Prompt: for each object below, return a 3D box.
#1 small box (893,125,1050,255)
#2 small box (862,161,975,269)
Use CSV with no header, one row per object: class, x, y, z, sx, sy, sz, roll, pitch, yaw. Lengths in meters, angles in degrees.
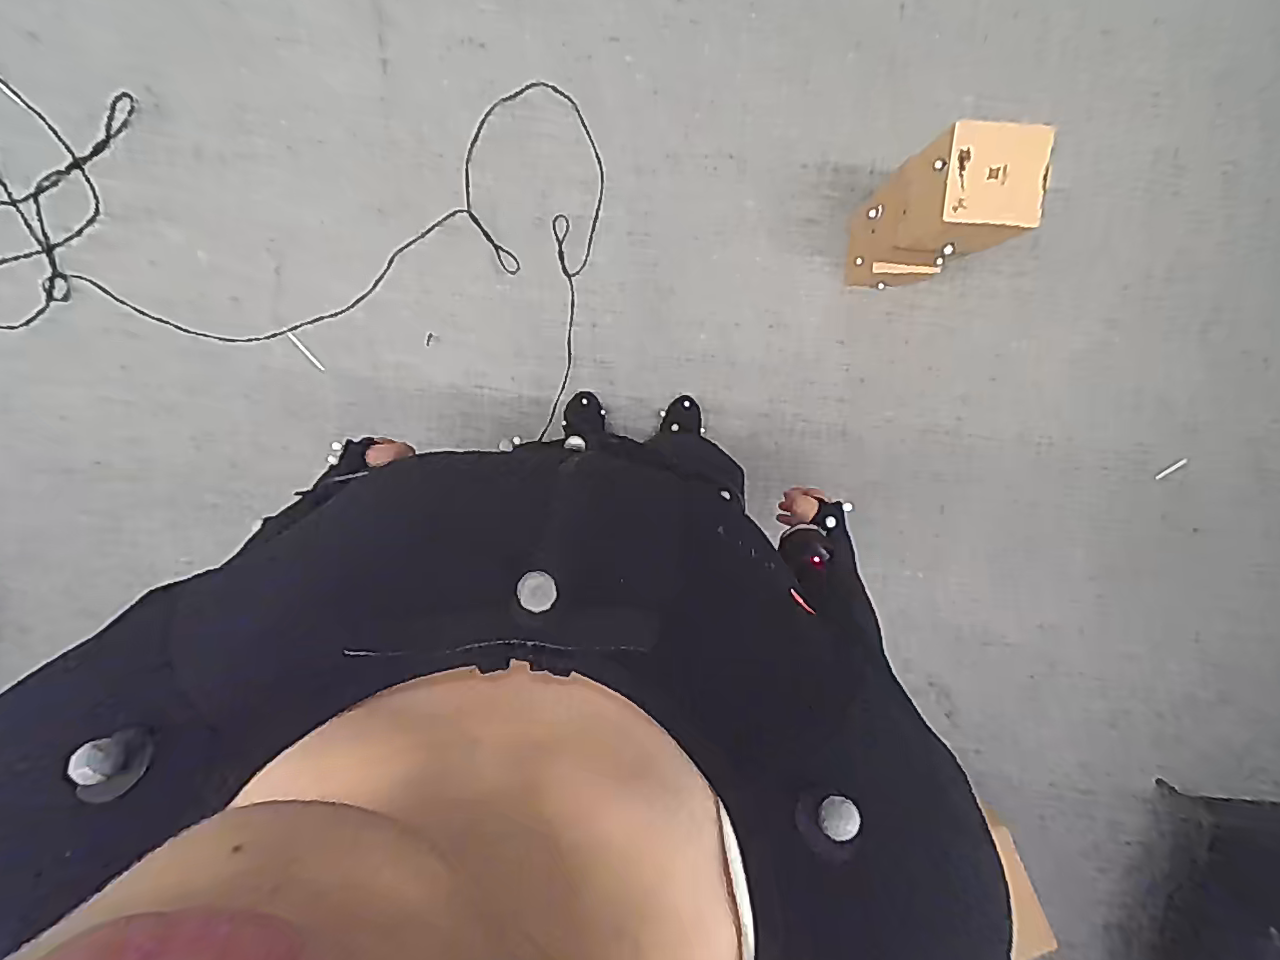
small box,0.610,-0.532,1.016,0.179,0.176,0.168,4,99,-3
small box,0.611,-0.566,1.176,0.179,0.176,0.168,4,99,-1
